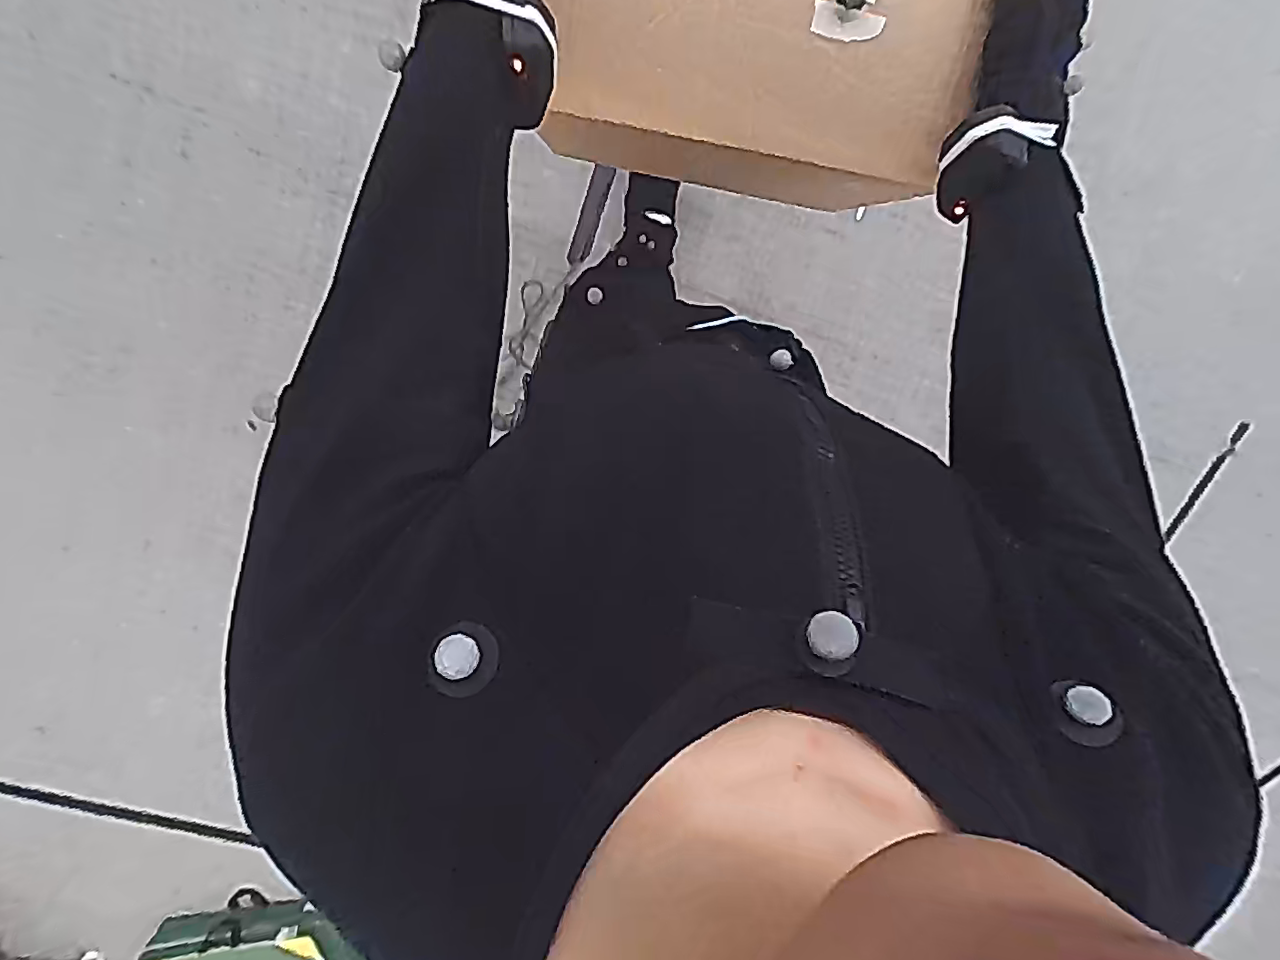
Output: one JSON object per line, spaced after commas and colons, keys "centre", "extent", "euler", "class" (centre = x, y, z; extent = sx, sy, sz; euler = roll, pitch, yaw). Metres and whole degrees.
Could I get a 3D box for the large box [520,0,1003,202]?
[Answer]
{"centre": [0.107, -0.505, 0.566], "extent": [0.408, 0.320, 0.320], "euler": [9, 114, -6], "class": "large box"}
